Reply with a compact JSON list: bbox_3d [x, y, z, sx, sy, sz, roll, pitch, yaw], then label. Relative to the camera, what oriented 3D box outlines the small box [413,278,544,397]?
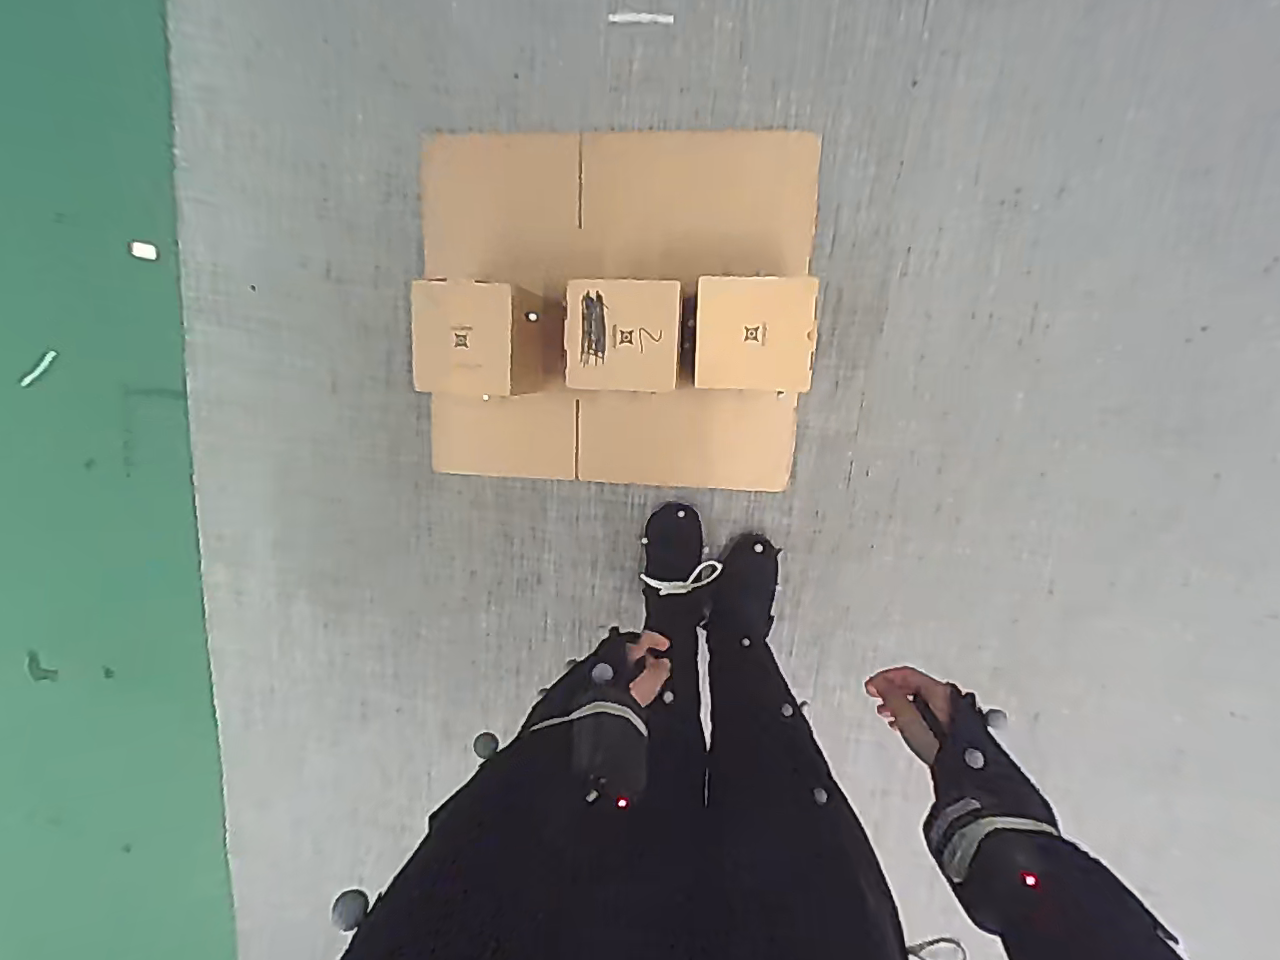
[{"bbox_3d":[-0.269,-0.239,0.926,0.168,0.176,0.179,4,103,7],"label":"small box"}]
